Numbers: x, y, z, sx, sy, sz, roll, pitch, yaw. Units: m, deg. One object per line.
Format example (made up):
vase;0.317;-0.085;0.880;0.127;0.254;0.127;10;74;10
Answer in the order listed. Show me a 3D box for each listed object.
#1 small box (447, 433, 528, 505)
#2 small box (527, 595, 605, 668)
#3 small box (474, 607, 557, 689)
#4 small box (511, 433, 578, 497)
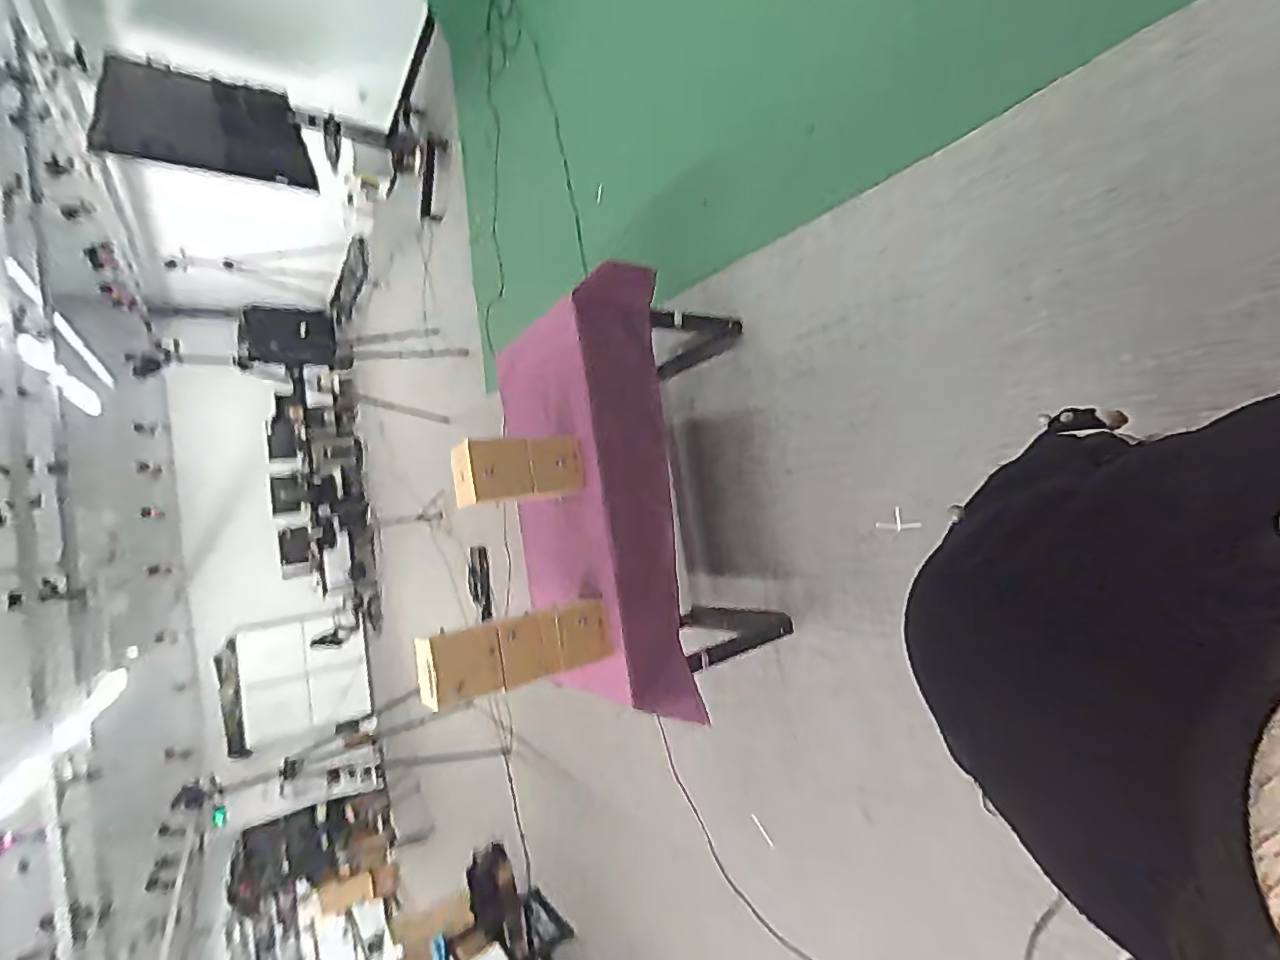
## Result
small box;-0.429;-0.032;1.528;0.168;0.176;0.179;-14;84;53
small box;-0.213;0.437;1.587;0.179;0.176;0.168;-15;82;54
small box;-0.342;0.455;1.490;0.168;0.176;0.179;-18;79;53
small box;-0.298;-0.044;1.628;0.179;0.176;0.168;-12;85;53
